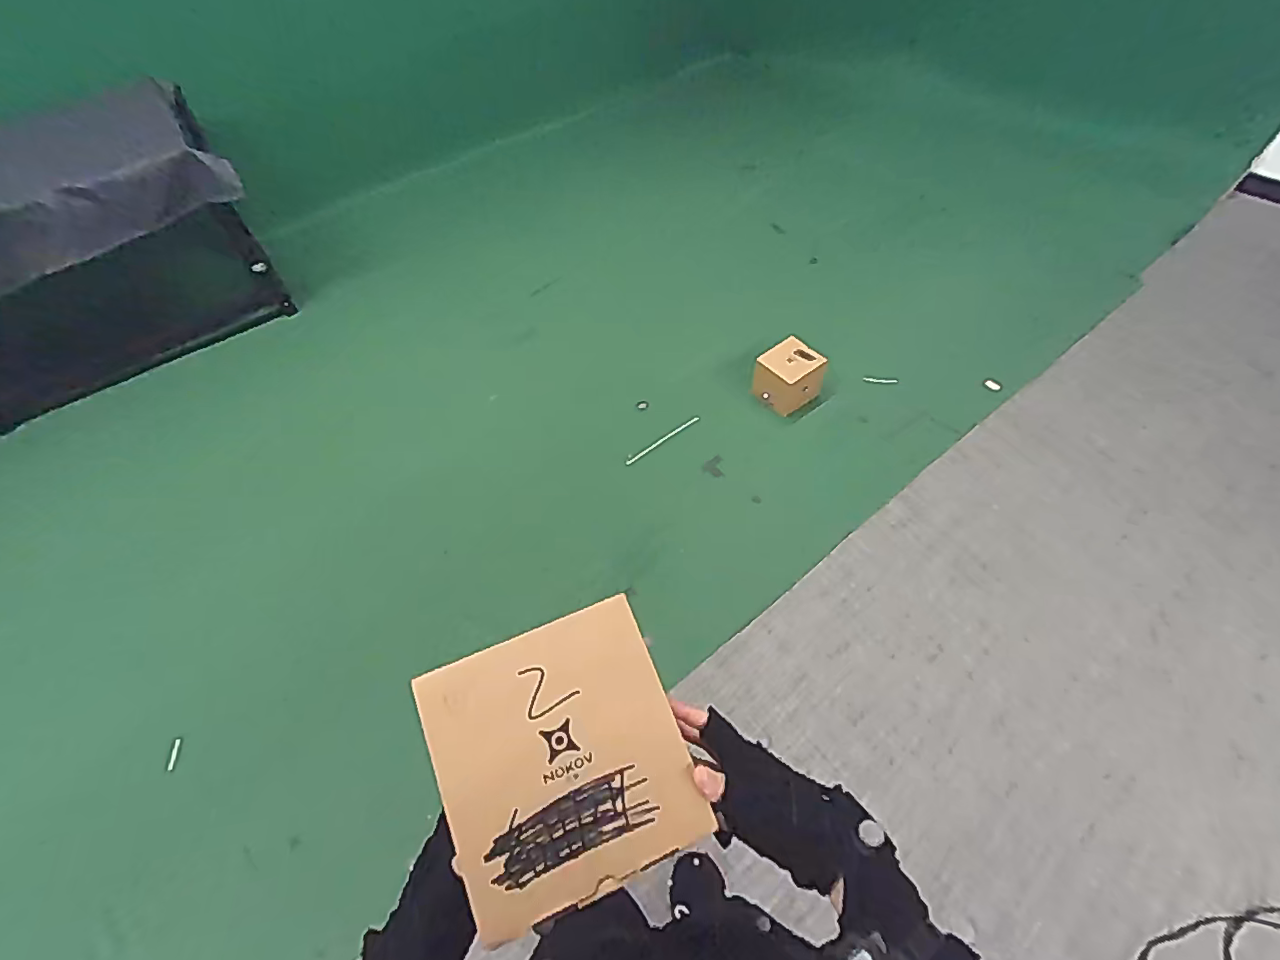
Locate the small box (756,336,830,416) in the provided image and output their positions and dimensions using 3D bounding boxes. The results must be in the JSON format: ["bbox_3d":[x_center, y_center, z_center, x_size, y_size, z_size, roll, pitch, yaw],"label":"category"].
[{"bbox_3d":[0.518,-0.358,1.865,0.179,0.176,0.168,-34,59,-16],"label":"small box"}]
